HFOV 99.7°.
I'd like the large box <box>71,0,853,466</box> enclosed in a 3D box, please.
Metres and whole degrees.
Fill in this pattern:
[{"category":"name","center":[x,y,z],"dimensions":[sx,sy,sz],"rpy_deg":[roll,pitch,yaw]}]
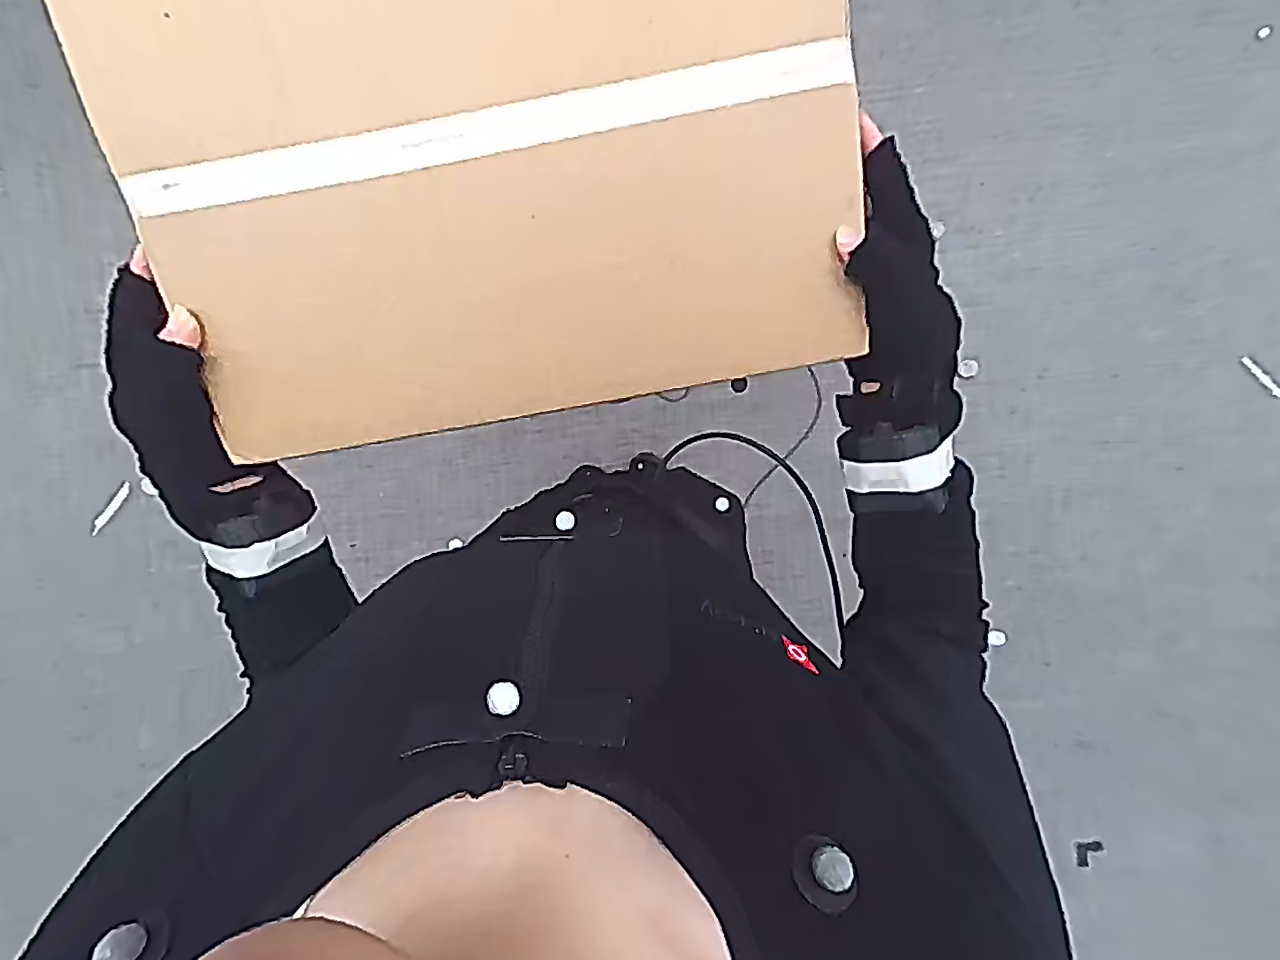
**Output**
[{"category":"large box","center":[-0.088,-0.231,0.450],"dimensions":[0.408,0.320,0.320],"rpy_deg":[-10,105,2]}]
